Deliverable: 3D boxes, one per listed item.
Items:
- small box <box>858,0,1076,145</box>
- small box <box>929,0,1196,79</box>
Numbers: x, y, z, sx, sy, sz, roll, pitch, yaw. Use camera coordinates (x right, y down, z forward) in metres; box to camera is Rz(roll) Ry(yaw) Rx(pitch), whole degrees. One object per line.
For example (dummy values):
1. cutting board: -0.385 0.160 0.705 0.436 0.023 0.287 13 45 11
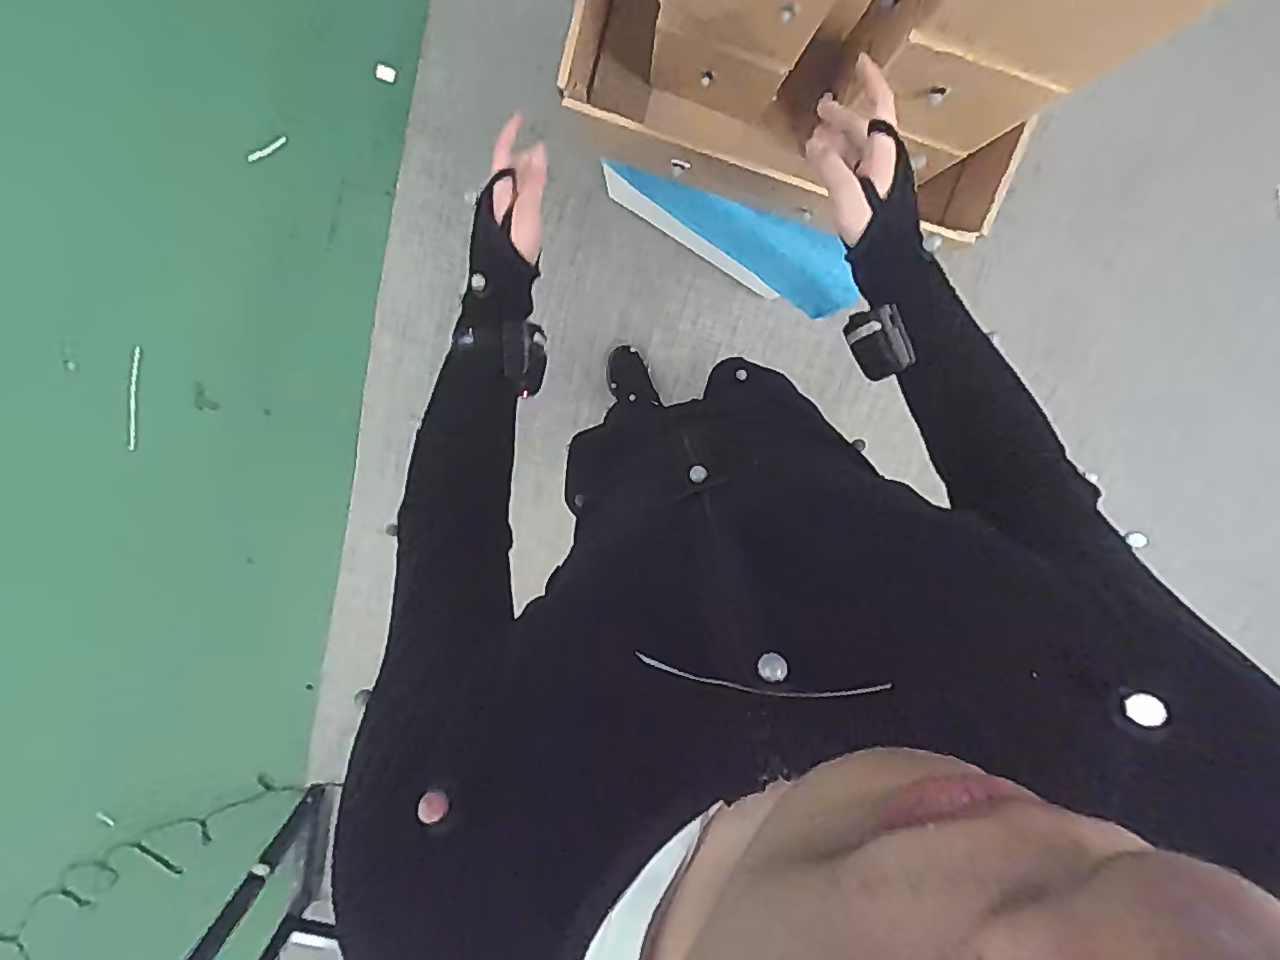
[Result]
1. small box: 0.367 -0.499 0.590 0.179 0.176 0.168 16 104 -1
2. small box: 0.371 -0.464 0.427 0.179 0.176 0.168 18 104 -3
